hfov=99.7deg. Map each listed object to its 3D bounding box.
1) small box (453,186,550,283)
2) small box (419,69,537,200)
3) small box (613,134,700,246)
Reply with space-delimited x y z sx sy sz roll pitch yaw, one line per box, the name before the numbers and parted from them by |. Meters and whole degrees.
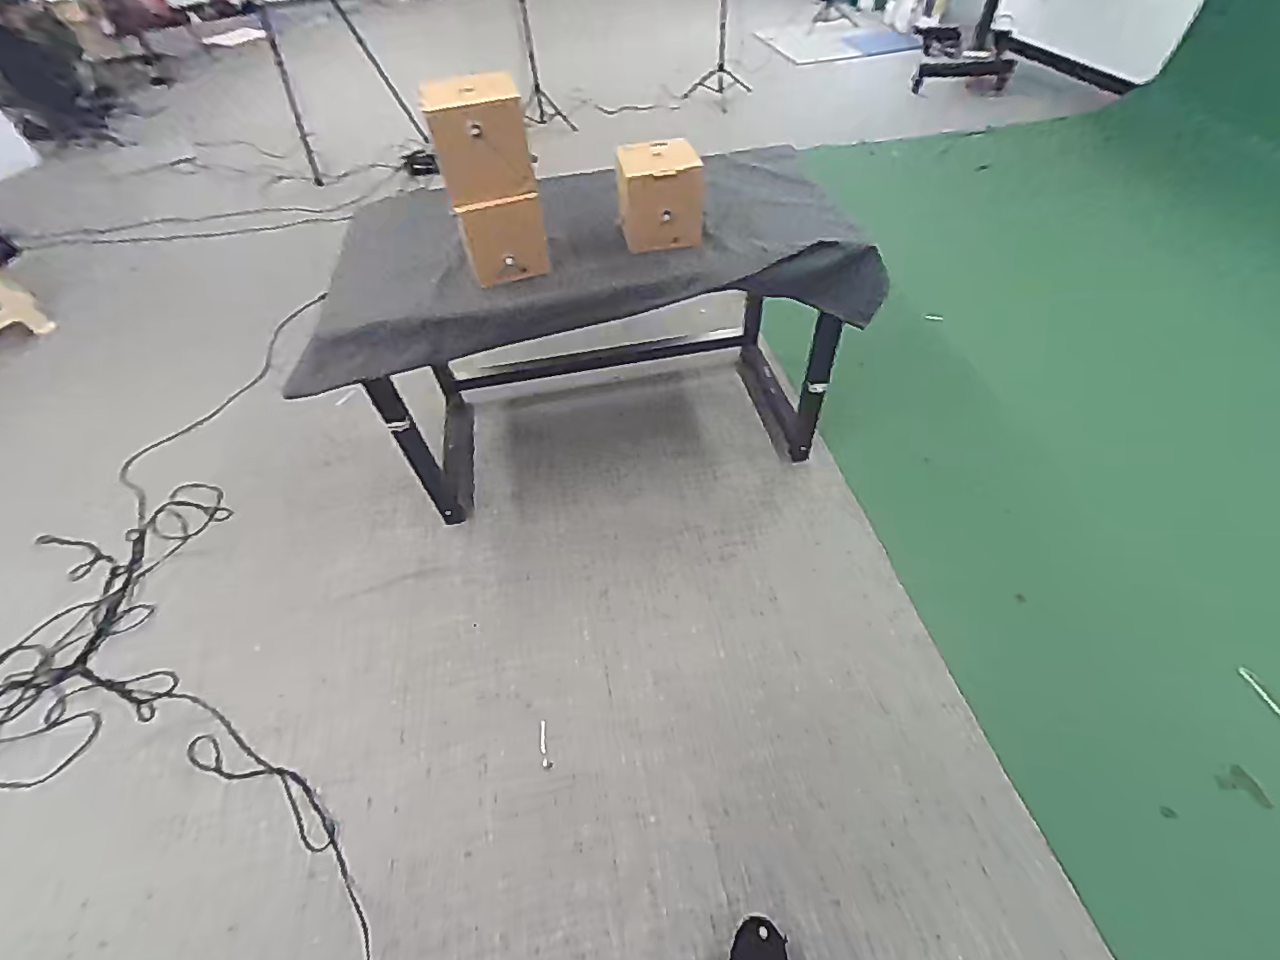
small box | -0.306 -0.557 1.175 0.168 0.176 0.179 -18 53 -10
small box | -0.314 -0.671 1.058 0.179 0.176 0.168 -14 53 -9
small box | 0.038 -0.649 1.226 0.168 0.176 0.179 -10 52 -4
